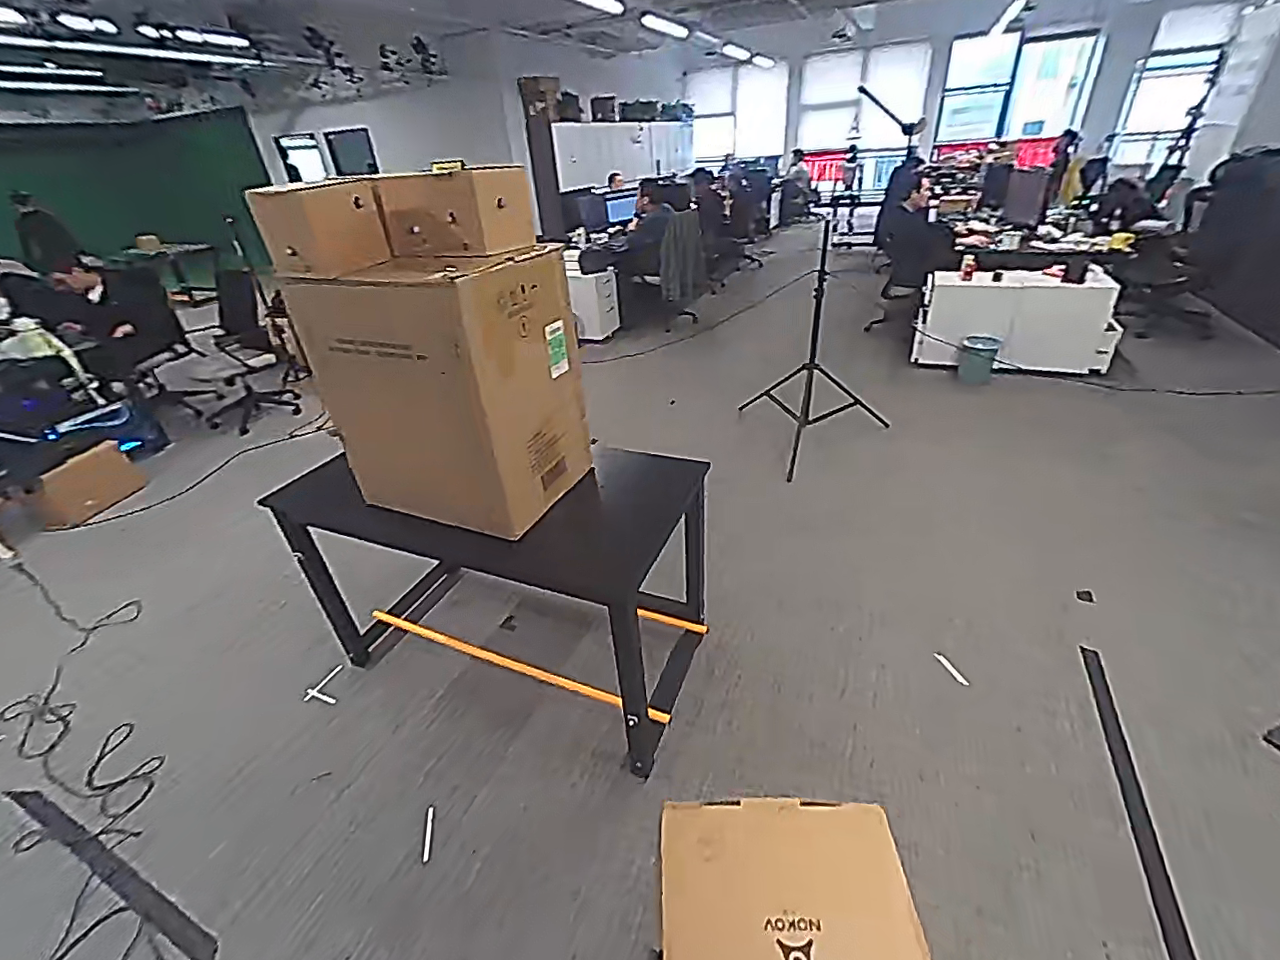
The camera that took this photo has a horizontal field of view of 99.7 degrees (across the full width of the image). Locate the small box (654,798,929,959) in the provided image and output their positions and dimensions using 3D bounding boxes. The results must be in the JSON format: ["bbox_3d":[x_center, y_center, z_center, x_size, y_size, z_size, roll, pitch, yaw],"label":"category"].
[{"bbox_3d":[0.094,0.353,0.382,0.168,0.176,0.179,0,39,0],"label":"small box"}]

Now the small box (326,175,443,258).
[{"bbox_3d":[-0.619,-0.647,1.328,0.179,0.176,0.168,11,35,22],"label":"small box"}]
